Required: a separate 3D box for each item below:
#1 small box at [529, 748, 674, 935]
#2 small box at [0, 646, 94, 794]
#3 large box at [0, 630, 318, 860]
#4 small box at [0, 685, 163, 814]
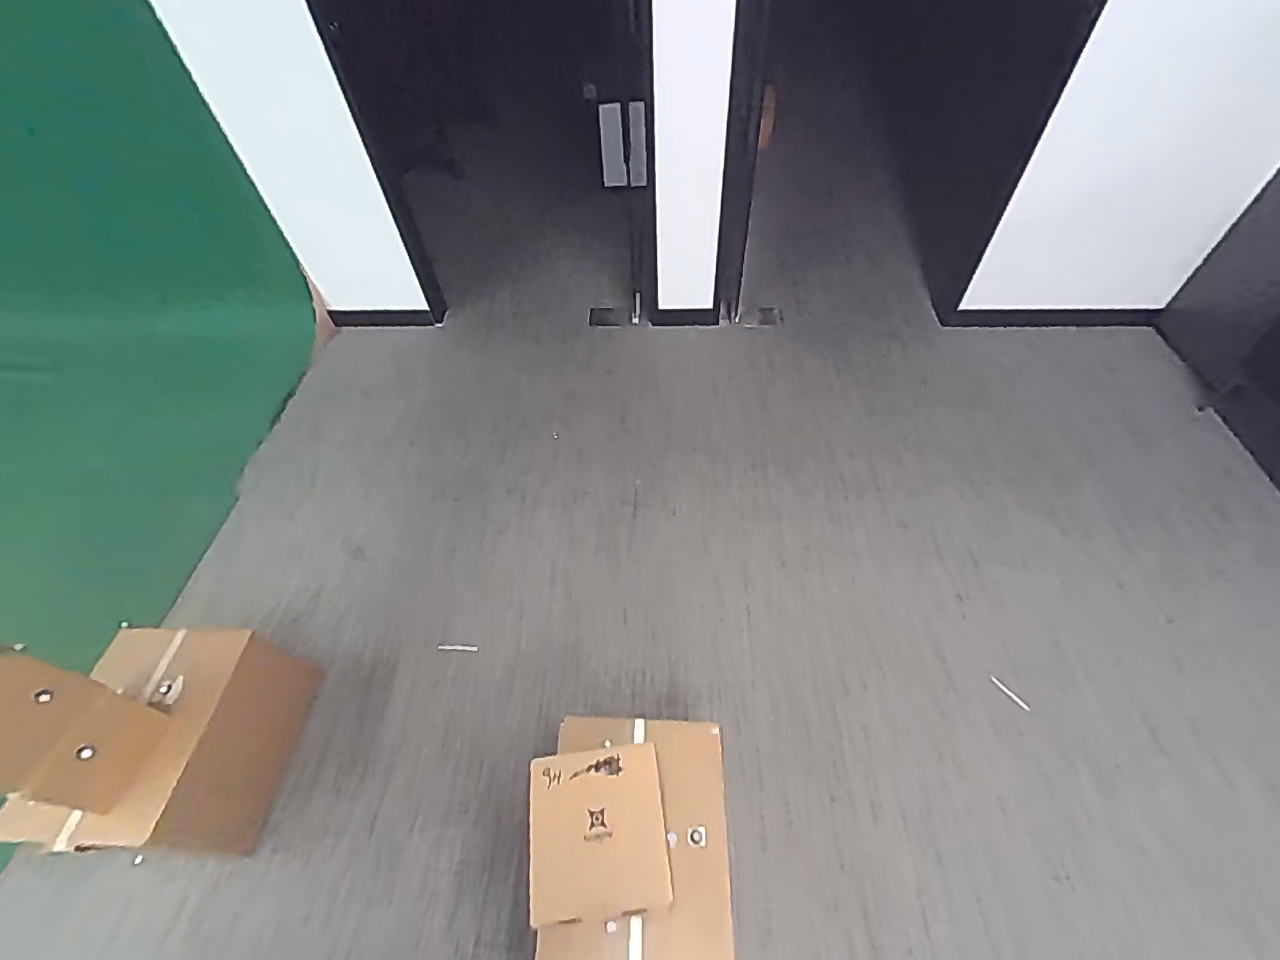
[{"bbox_3d":[-0.047,0.474,0.717,0.168,0.176,0.179,-7,53,-1],"label":"small box"},{"bbox_3d":[-1.036,0.367,0.851,0.168,0.176,0.179,11,54,13],"label":"small box"},{"bbox_3d":[-1.006,0.585,1.194,0.320,0.320,0.408,0,51,3],"label":"large box"},{"bbox_3d":[-1.024,0.475,0.972,0.168,0.176,0.179,9,53,10],"label":"small box"}]
